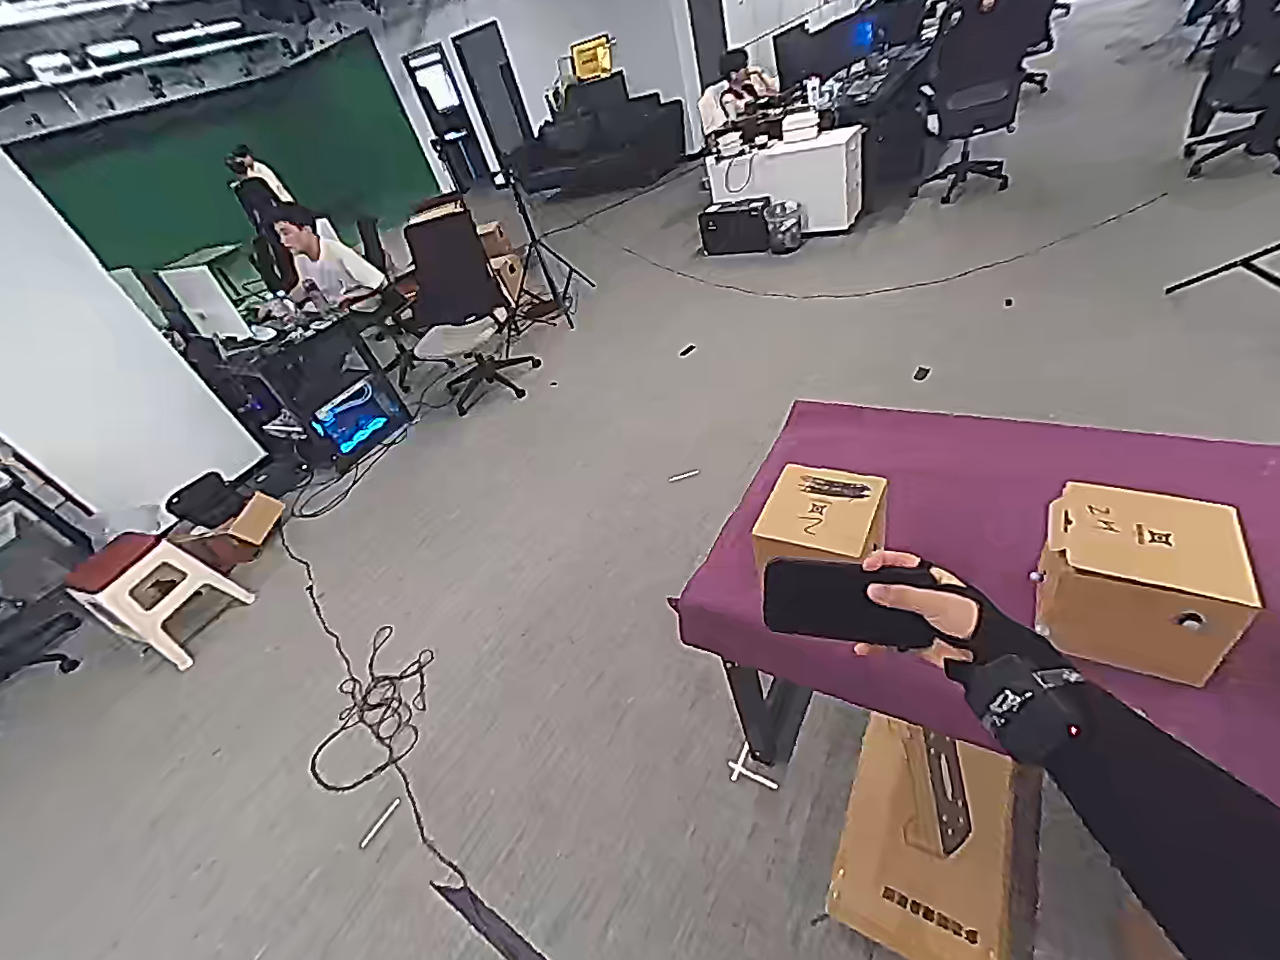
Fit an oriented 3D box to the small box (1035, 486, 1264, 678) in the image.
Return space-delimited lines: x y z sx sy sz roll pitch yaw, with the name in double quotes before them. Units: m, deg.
"small box" 0.651 0.134 0.716 0.179 0.176 0.168 10 45 31
